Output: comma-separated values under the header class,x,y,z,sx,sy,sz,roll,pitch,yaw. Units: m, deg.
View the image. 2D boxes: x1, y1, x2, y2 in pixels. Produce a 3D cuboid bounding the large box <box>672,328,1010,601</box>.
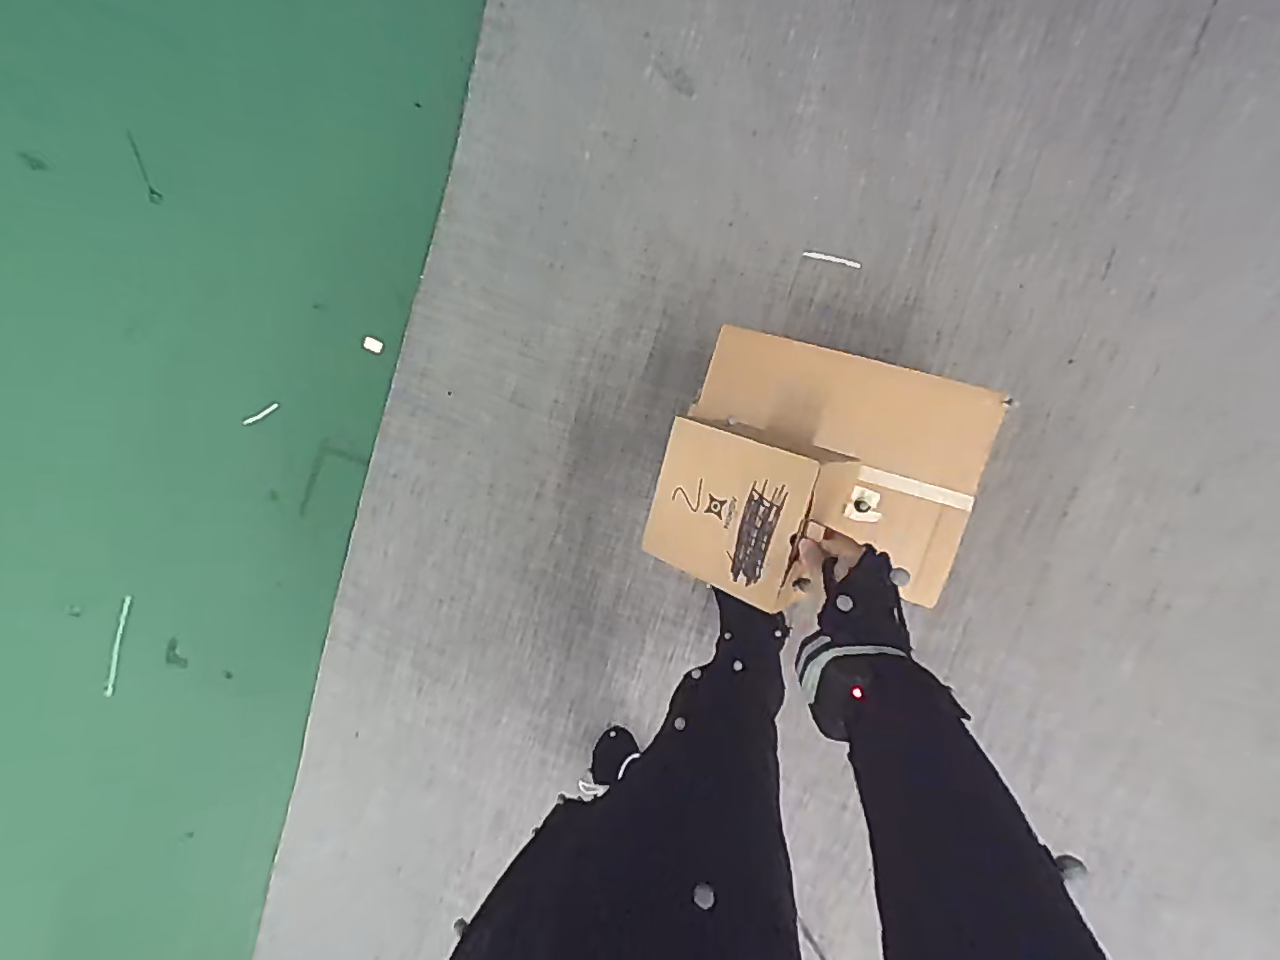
class,x,y,z,sx,sy,sz,roll,pitch,yaw
large box,0.302,-0.035,0.923,0.408,0.320,0.320,17,97,11
